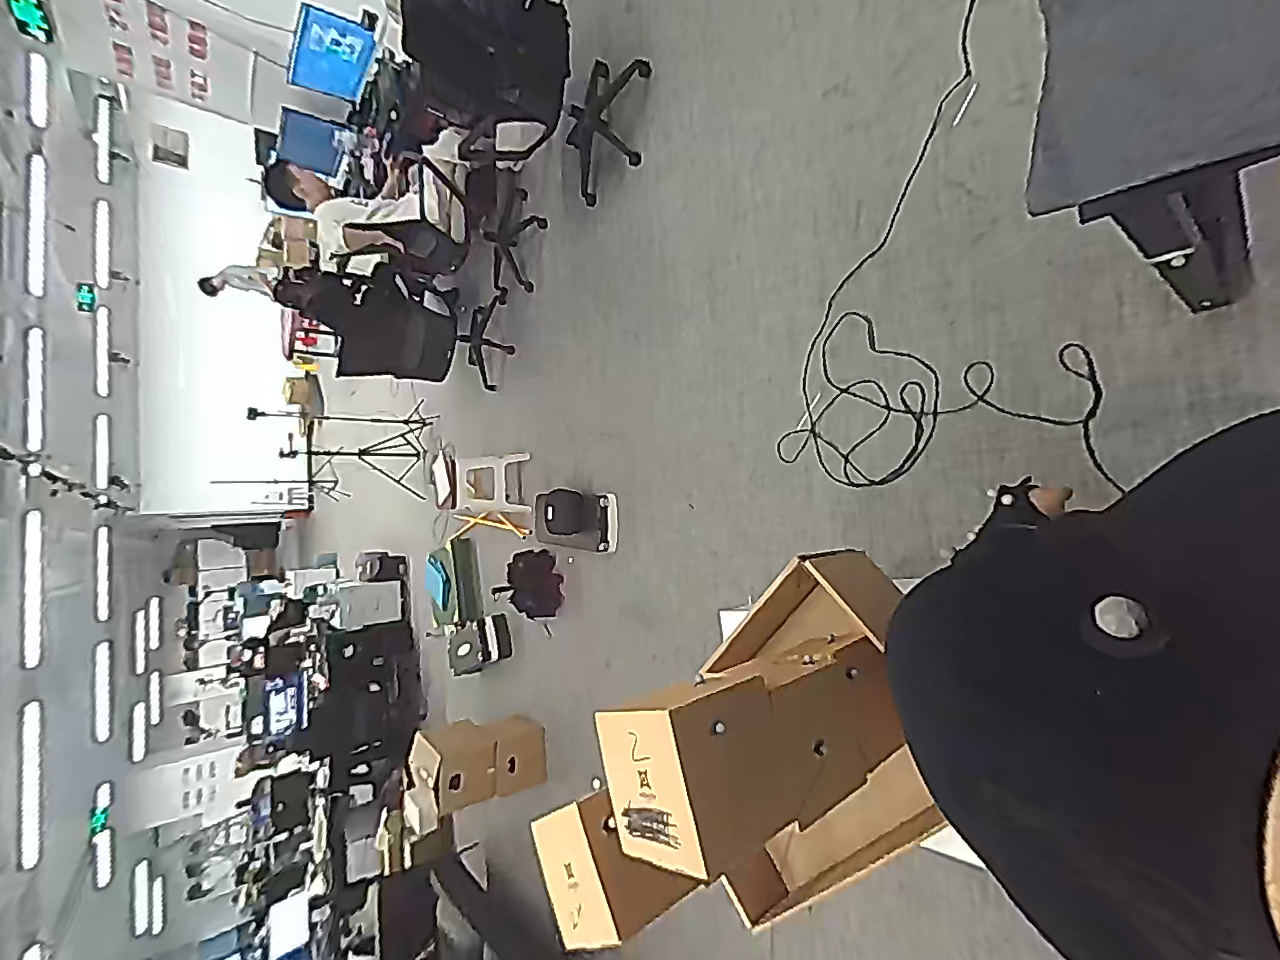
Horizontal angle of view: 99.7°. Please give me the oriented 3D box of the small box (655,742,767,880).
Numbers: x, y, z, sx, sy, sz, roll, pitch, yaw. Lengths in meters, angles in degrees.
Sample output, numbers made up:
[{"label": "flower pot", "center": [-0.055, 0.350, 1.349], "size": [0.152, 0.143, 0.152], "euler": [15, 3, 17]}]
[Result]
[{"label": "small box", "center": [0.090, 0.579, 0.959], "size": [0.179, 0.176, 0.168], "euler": [-44, 60, 40]}]

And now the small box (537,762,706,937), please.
[{"label": "small box", "center": [-0.032, 0.567, 0.847], "size": [0.168, 0.176, 0.179], "euler": [-49, 57, 40]}]

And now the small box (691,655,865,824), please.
[{"label": "small box", "center": [0.205, 0.368, 0.810], "size": [0.168, 0.176, 0.179], "euler": [-23, 77, 50]}]
